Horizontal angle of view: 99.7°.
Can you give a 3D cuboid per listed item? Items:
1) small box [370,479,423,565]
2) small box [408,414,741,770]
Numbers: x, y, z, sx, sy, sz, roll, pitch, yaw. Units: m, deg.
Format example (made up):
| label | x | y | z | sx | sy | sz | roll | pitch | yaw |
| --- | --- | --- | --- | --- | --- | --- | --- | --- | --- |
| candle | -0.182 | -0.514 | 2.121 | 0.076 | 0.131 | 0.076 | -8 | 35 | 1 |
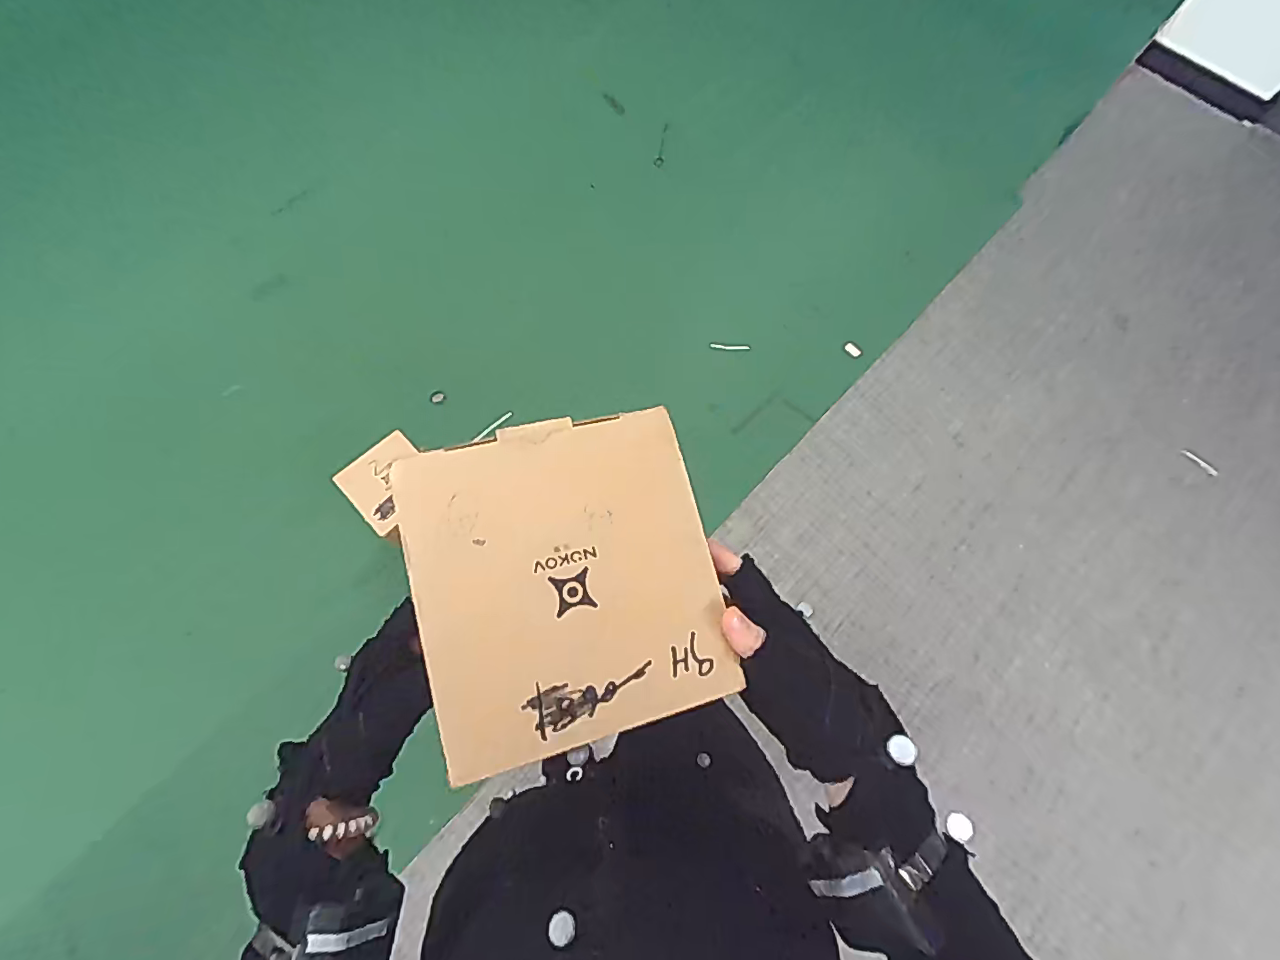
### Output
| label | x | y | z | sx | sy | sz | roll | pitch | yaw |
| --- | --- | --- | --- | --- | --- | --- | --- | --- | --- |
| small box | -0.524 | 0.101 | 1.351 | 0.168 | 0.176 | 0.179 | -40 | 77 | -14 |
| small box | -0.053 | 0.074 | 0.389 | 0.168 | 0.176 | 0.179 | -12 | 79 | -14 |
